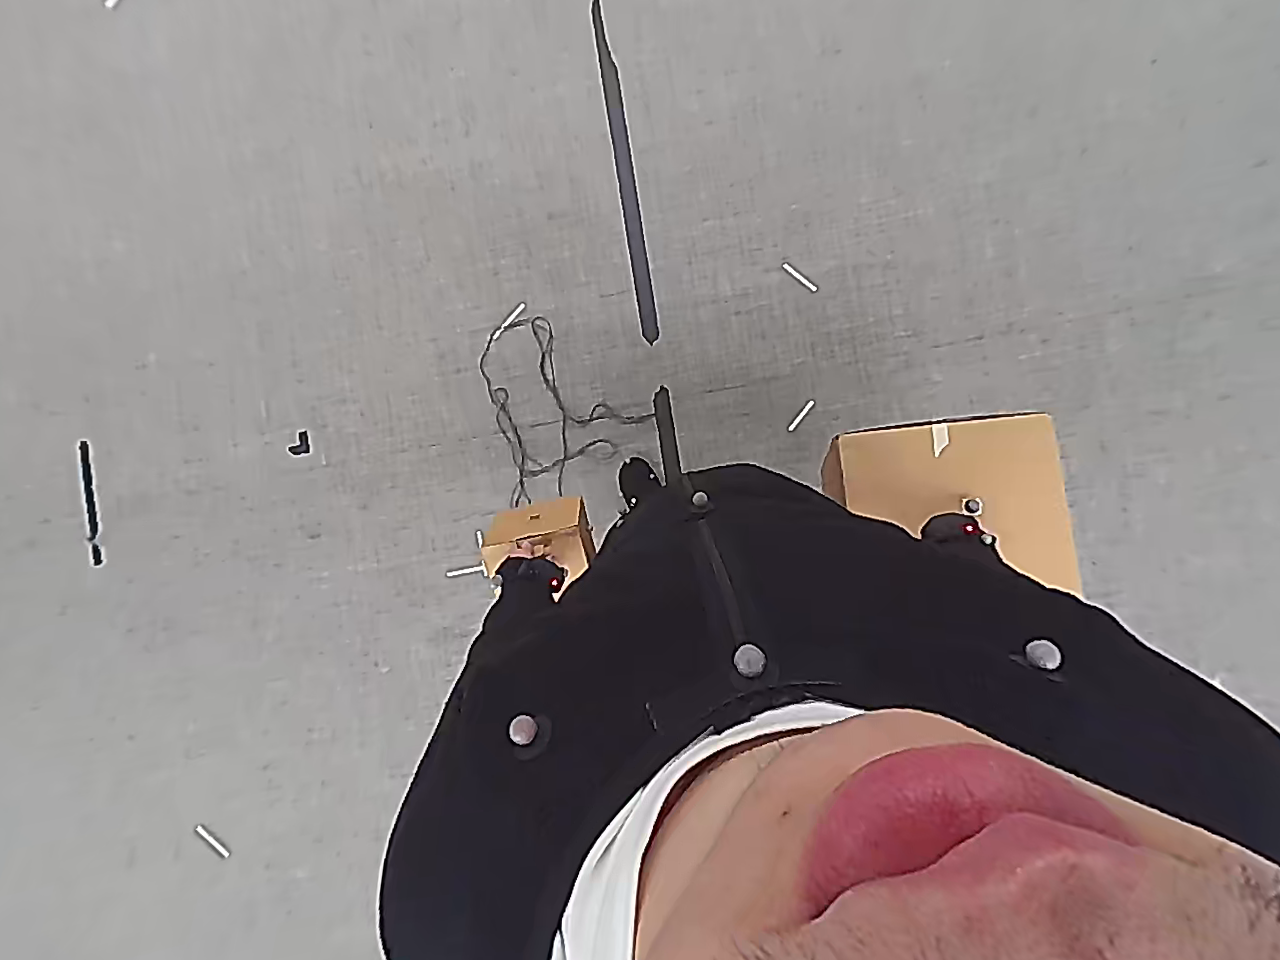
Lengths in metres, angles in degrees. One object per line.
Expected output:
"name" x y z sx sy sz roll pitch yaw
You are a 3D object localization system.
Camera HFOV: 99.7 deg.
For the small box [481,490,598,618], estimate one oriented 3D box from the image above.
"small box" -0.174 0.138 0.997 0.168 0.179 0.176 -12 108 -1
